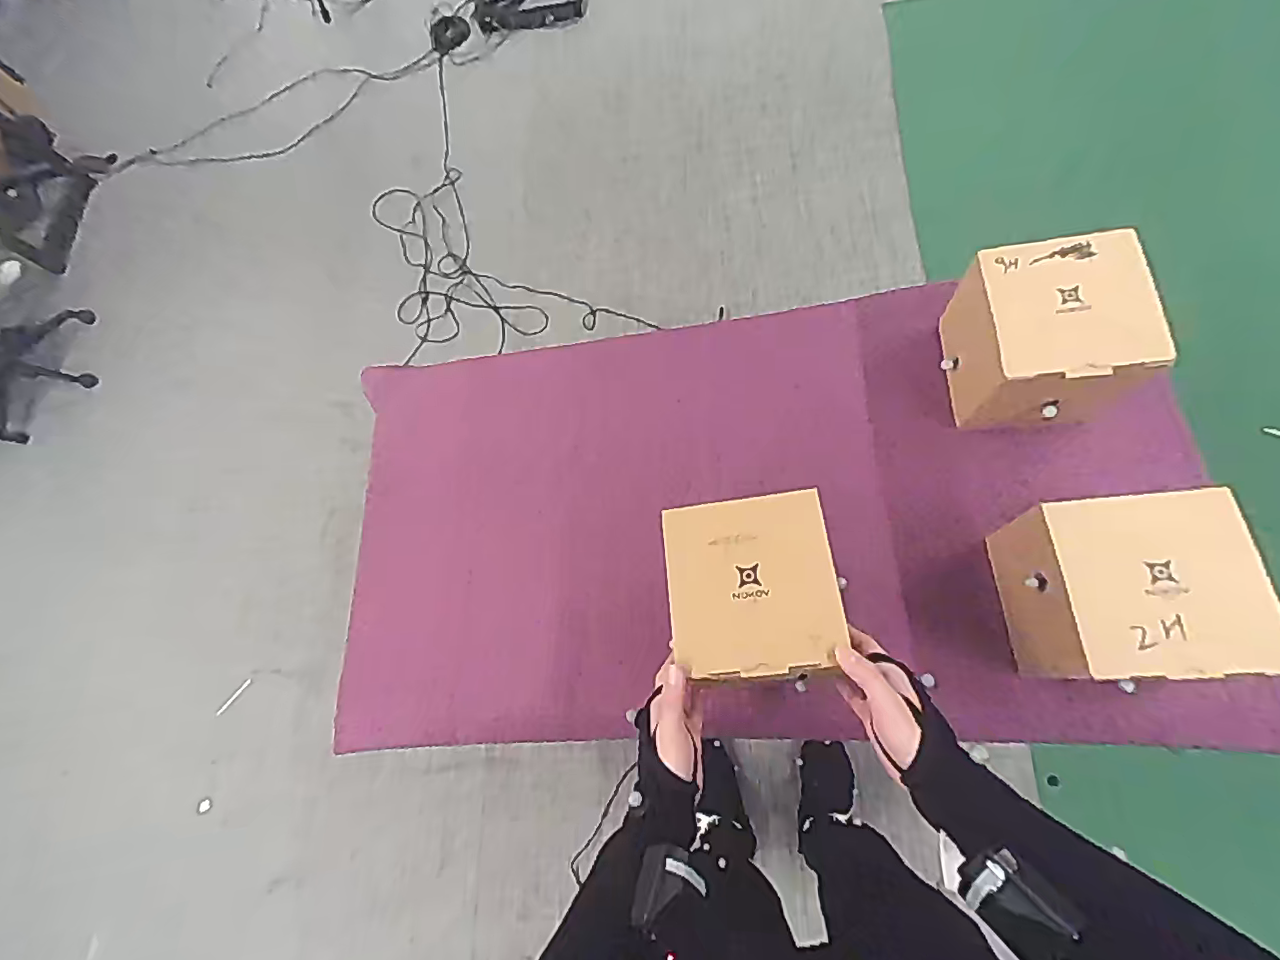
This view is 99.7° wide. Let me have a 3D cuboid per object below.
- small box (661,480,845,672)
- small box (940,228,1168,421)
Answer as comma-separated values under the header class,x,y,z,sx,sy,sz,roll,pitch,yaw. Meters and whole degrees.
class,x,y,z,sx,sy,sz,roll,pitch,yaw
small box,0.123,0.119,0.610,0.168,0.176,0.179,-8,65,10
small box,0.506,-0.182,0.692,0.168,0.176,0.179,-4,75,12
